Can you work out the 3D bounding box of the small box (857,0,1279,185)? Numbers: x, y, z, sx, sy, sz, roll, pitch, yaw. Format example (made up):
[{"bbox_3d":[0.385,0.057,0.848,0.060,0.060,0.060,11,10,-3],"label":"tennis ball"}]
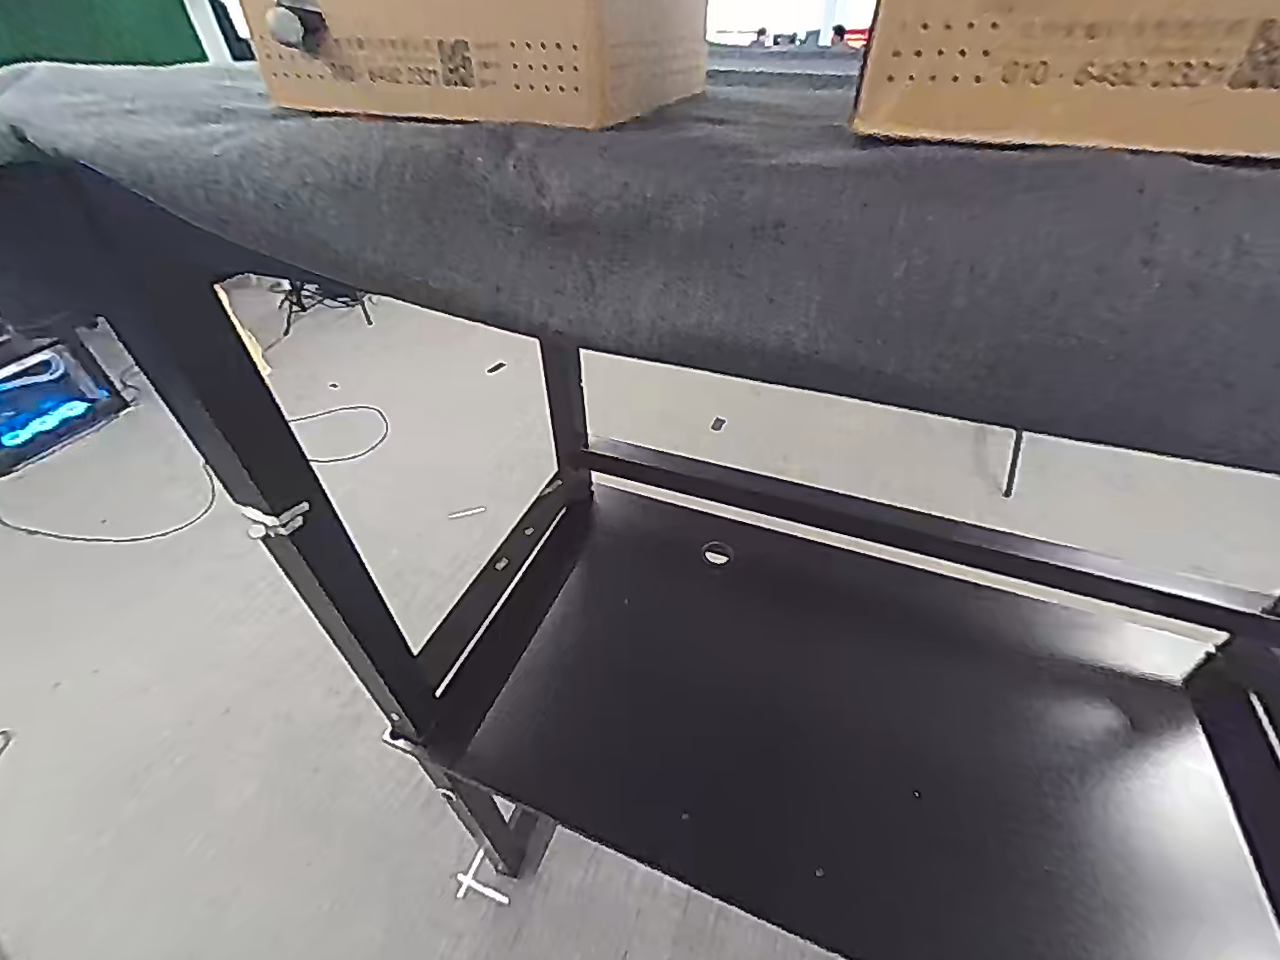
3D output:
[{"bbox_3d":[0.179,-0.210,0.177,0.168,0.176,0.179,13,41,16],"label":"small box"}]

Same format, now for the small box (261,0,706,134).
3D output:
[{"bbox_3d":[-0.063,-0.265,0.243,0.168,0.176,0.179,13,40,14],"label":"small box"}]
